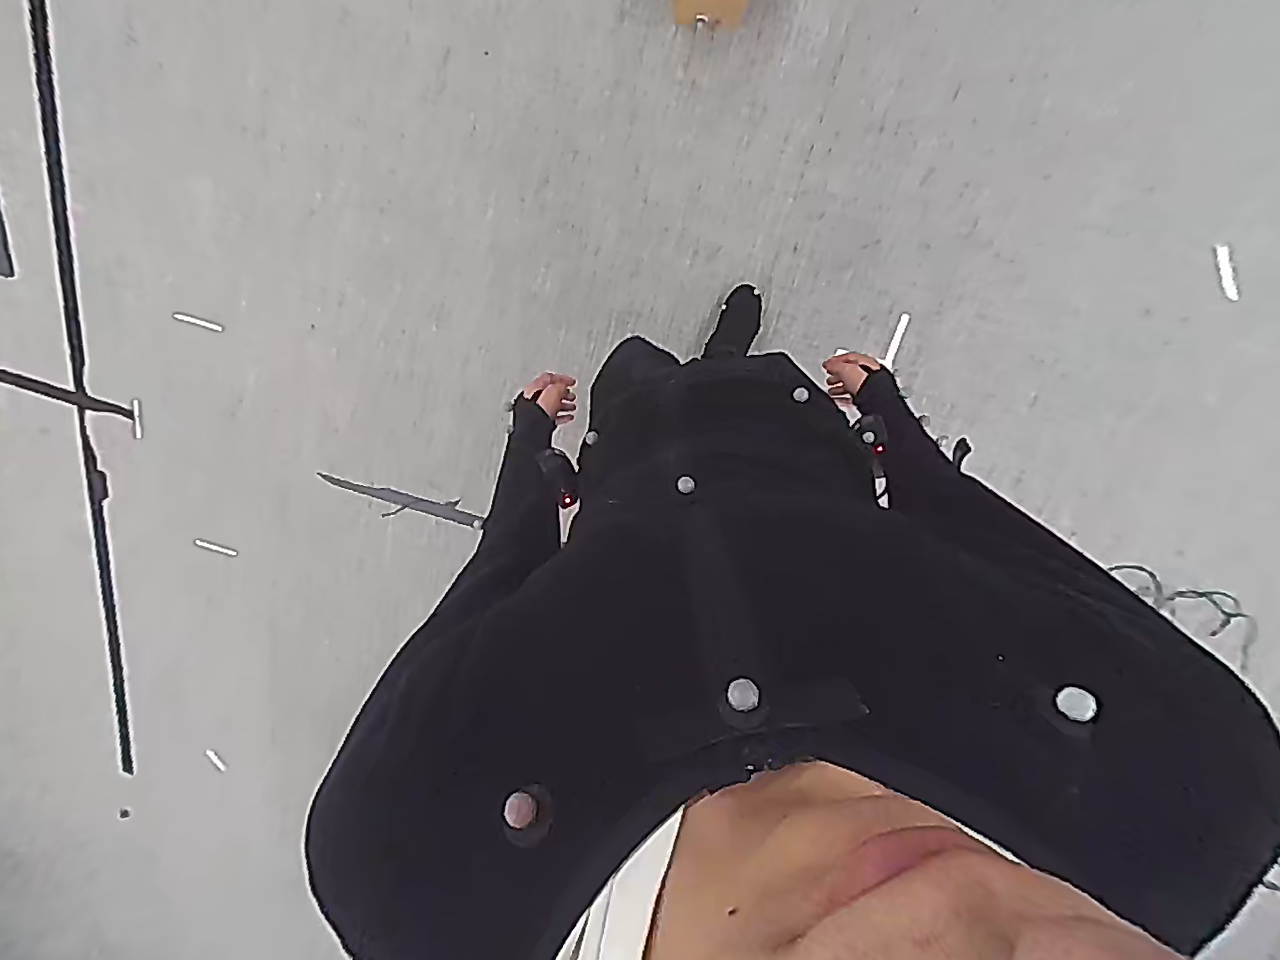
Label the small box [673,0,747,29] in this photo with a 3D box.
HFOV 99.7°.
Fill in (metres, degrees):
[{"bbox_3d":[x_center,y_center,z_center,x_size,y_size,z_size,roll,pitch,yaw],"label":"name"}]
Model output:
[{"bbox_3d":[0.159,-1.128,1.175,0.168,0.176,0.179,6,110,5],"label":"small box"}]
